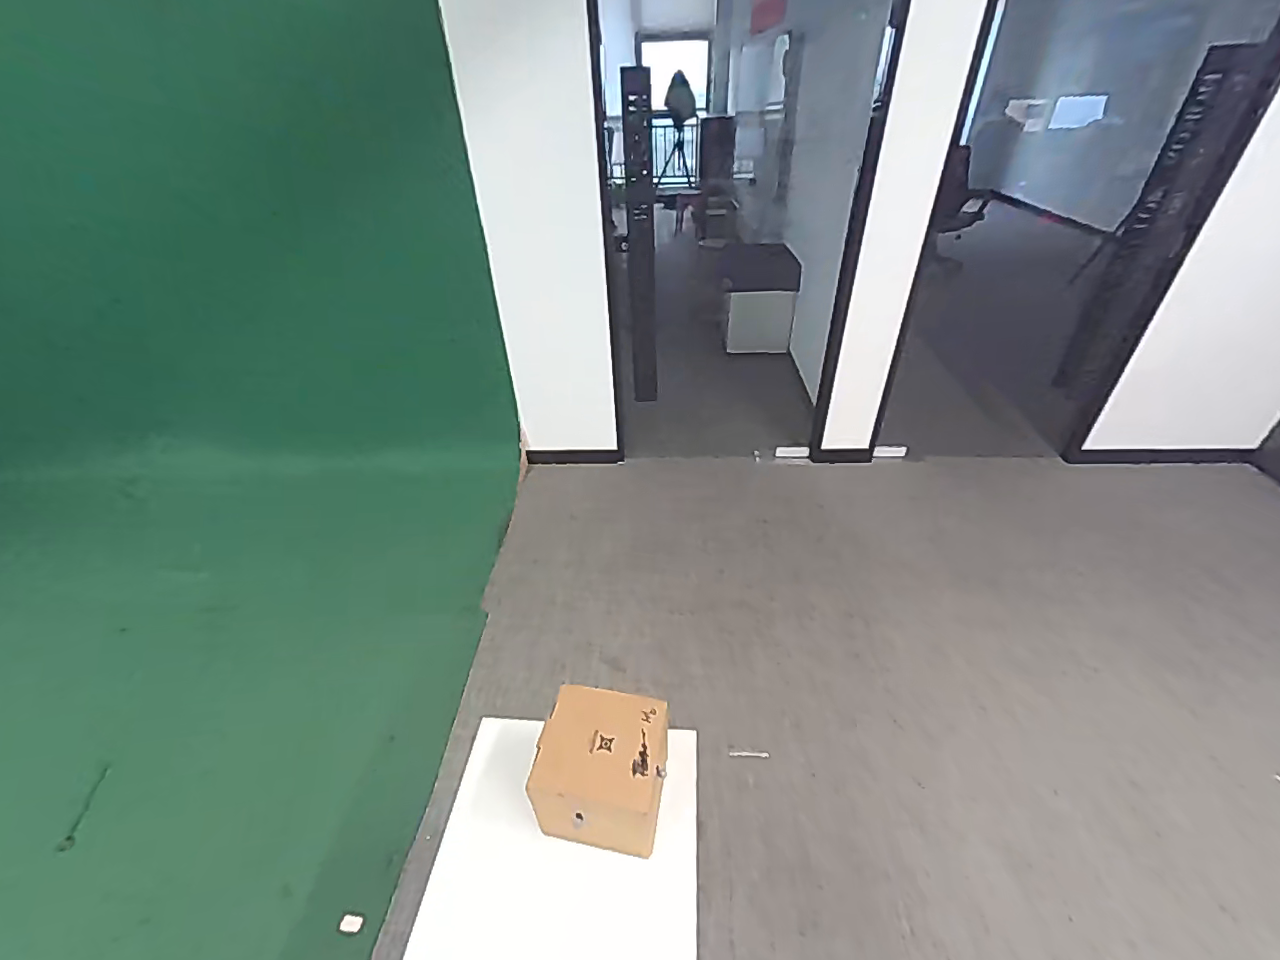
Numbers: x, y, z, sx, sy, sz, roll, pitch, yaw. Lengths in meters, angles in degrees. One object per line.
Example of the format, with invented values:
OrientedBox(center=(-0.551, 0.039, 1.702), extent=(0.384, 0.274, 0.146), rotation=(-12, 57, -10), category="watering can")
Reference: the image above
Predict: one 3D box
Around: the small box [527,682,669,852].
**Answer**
OrientedBox(center=(-0.054, 0.446, 0.842), extent=(0.179, 0.176, 0.168), rotation=(5, 38, 11), category="small box")
